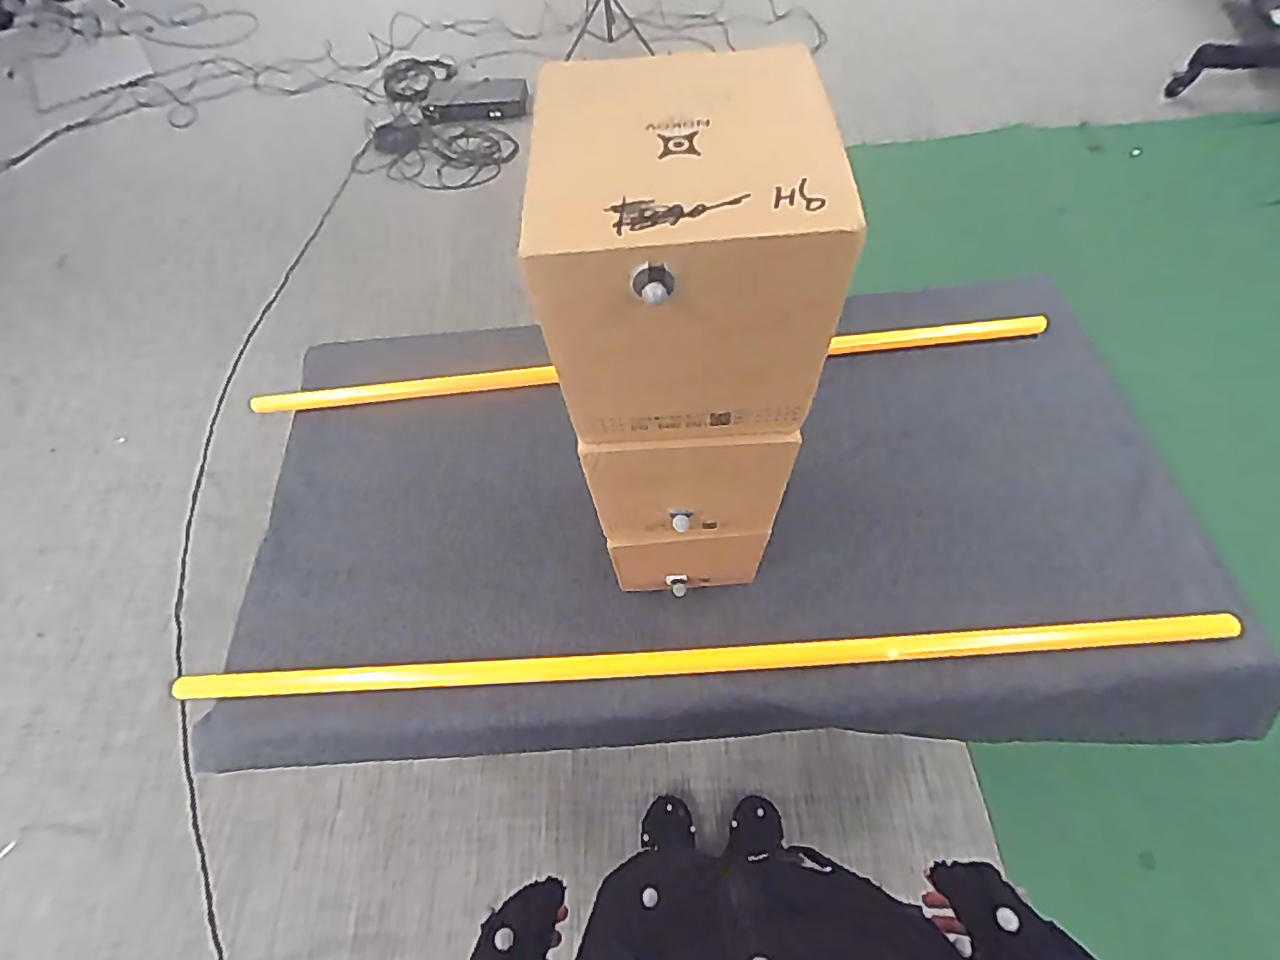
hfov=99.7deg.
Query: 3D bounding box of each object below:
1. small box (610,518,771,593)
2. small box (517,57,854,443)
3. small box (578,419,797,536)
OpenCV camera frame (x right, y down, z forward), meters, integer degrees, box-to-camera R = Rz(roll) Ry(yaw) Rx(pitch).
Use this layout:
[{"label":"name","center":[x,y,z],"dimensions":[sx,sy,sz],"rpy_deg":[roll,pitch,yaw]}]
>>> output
[{"label":"small box","center":[0.052,0.022,0.652],"dimensions":[0.168,0.176,0.179],"rpy_deg":[-6,62,2]},{"label":"small box","center":[0.027,-0.145,0.370],"dimensions":[0.168,0.176,0.179],"rpy_deg":[-3,60,5]},{"label":"small box","center":[0.040,-0.060,0.510],"dimensions":[0.168,0.176,0.179],"rpy_deg":[-3,62,4]}]
